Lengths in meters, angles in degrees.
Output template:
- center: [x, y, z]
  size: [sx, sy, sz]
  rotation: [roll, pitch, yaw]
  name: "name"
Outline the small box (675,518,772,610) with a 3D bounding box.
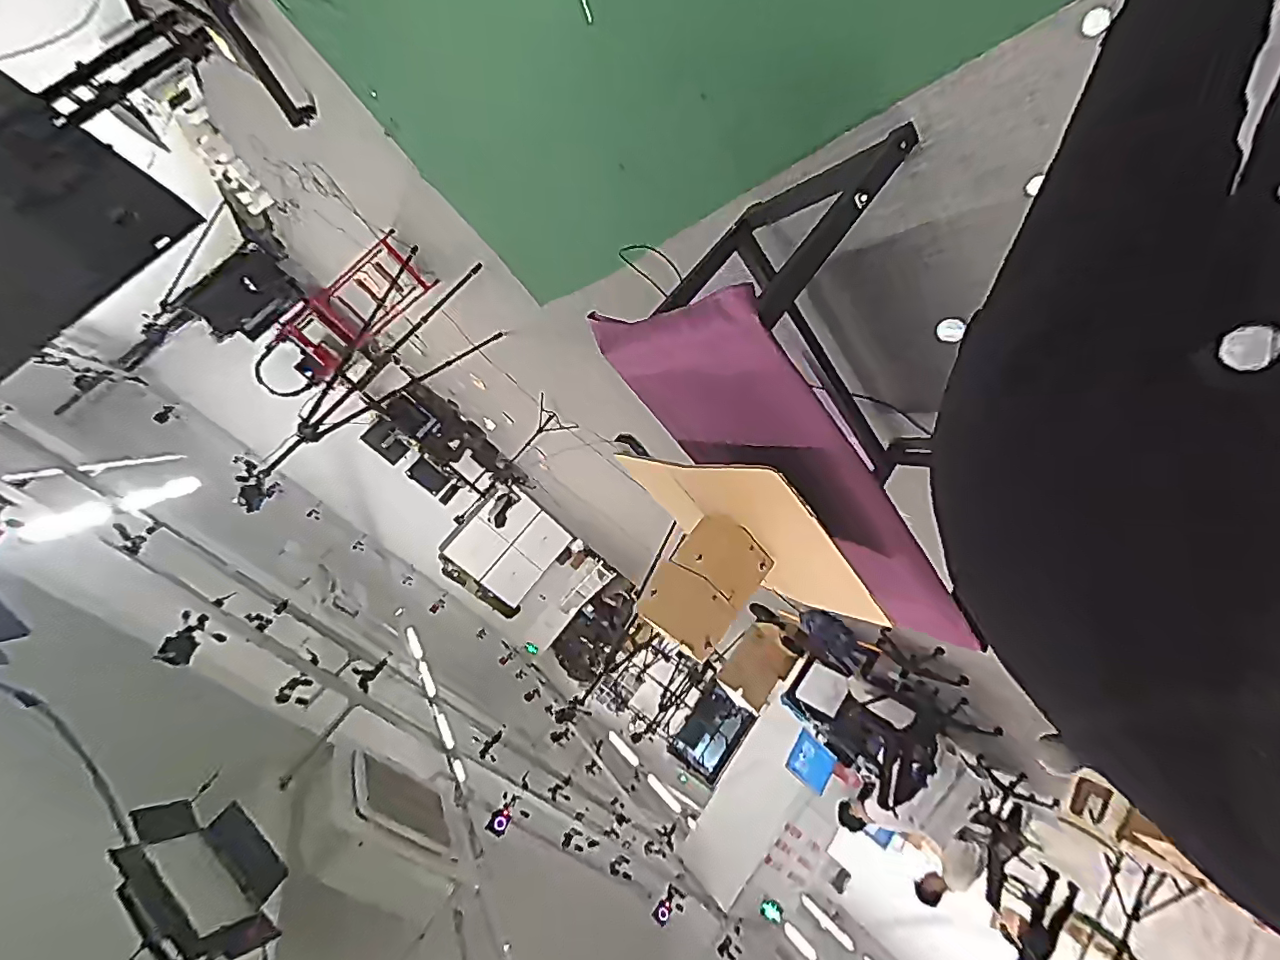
- center: [0.238, 0.224, 1.490]
  size: [0.168, 0.176, 0.179]
  rotation: [47, 165, -27]
  name: "small box"
